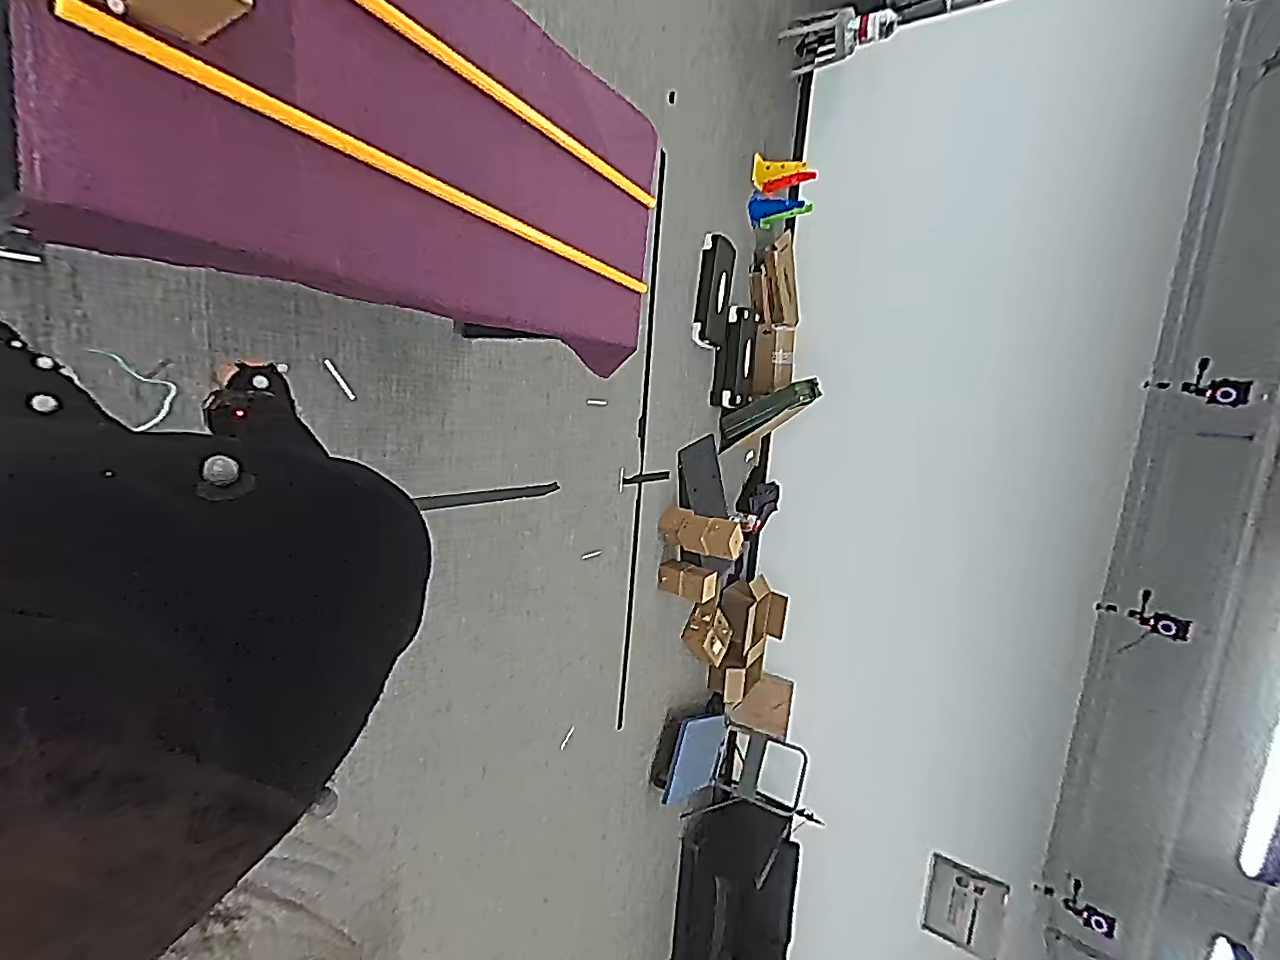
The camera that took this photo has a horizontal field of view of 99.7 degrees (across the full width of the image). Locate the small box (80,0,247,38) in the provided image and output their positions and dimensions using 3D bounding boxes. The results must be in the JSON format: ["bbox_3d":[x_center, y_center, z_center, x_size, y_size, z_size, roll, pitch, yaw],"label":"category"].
[{"bbox_3d":[-0.564,-0.621,0.582,0.179,0.176,0.168,-12,109,-57],"label":"small box"}]
